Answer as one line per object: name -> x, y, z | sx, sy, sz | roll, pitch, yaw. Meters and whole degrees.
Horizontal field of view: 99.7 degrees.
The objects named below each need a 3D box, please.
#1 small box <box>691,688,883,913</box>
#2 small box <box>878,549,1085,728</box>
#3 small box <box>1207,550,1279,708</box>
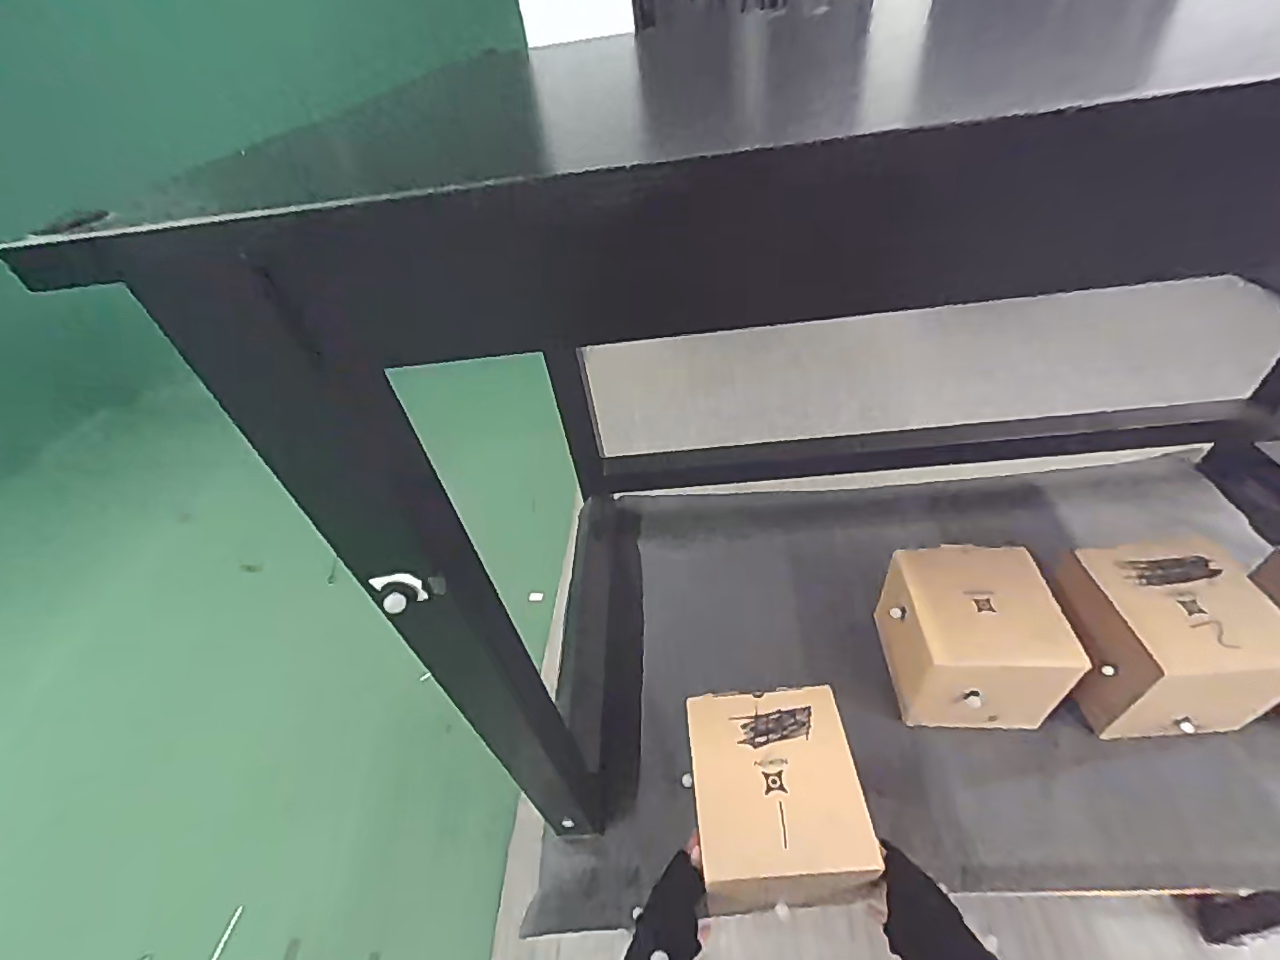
small box -> 0.148, 0.361, 0.611 | 0.168, 0.176, 0.179 | -6, 43, 4
small box -> 0.434, 0.214, 0.724 | 0.168, 0.176, 0.179 | -2, 42, 8
small box -> 0.876, 0.196, 0.653 | 0.168, 0.176, 0.179 | -6, 41, 4
